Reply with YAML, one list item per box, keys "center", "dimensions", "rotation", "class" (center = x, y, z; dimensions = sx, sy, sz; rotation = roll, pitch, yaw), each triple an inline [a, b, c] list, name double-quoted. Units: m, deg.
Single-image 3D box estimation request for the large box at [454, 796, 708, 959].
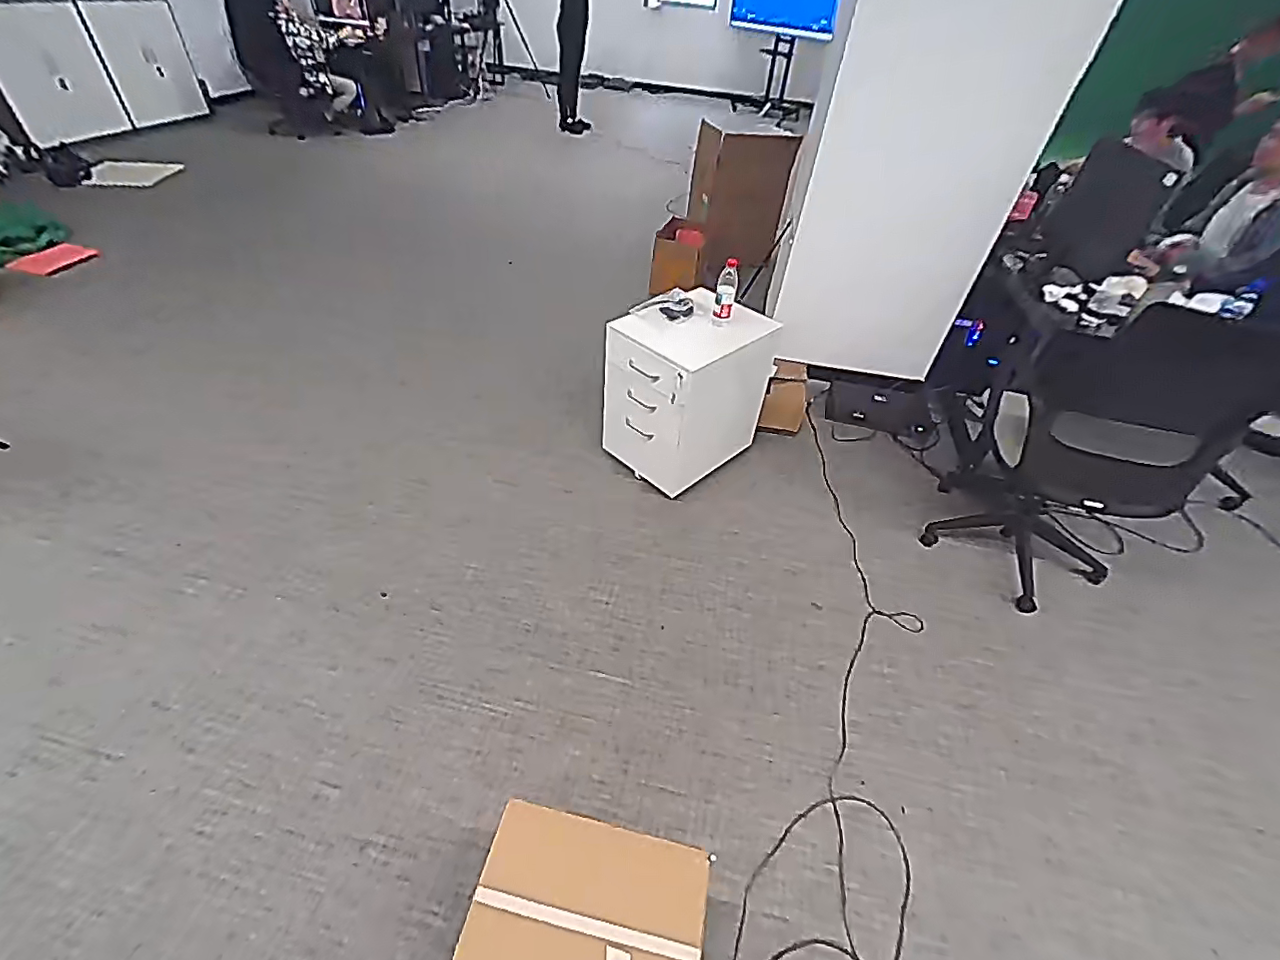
- center: [-0.108, 0.869, 1.044]
  dimensions: [0.408, 0.320, 0.320]
  rotation: [12, 44, 5]
  class: "large box"
